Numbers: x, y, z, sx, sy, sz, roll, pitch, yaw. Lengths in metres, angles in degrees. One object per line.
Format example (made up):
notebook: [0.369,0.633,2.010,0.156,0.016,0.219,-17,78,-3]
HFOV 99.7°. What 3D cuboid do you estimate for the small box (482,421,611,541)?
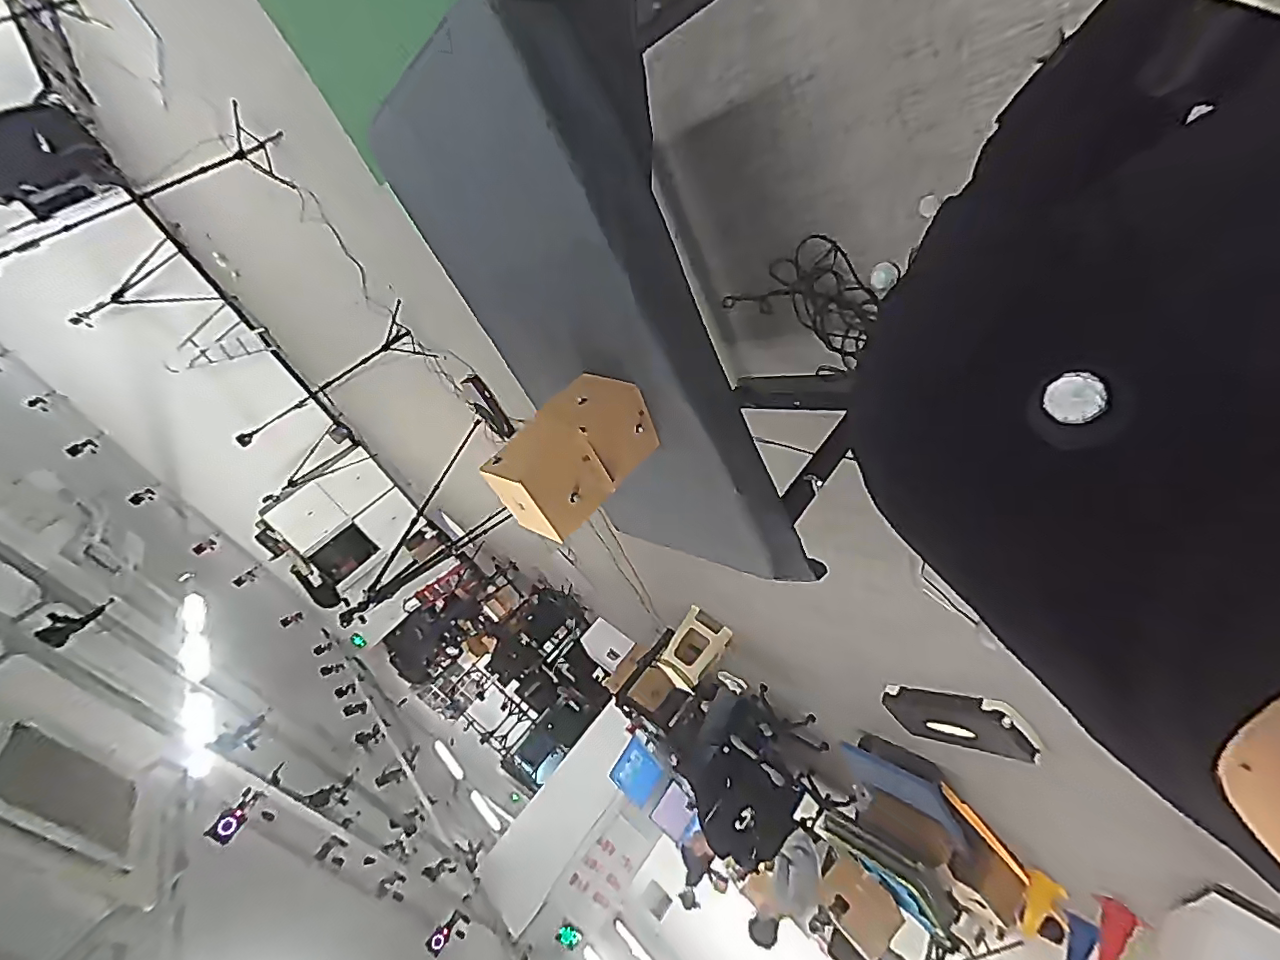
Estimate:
small box: [-0.181,-0.005,1.107,0.179,0.176,0.168,13,142,47]
